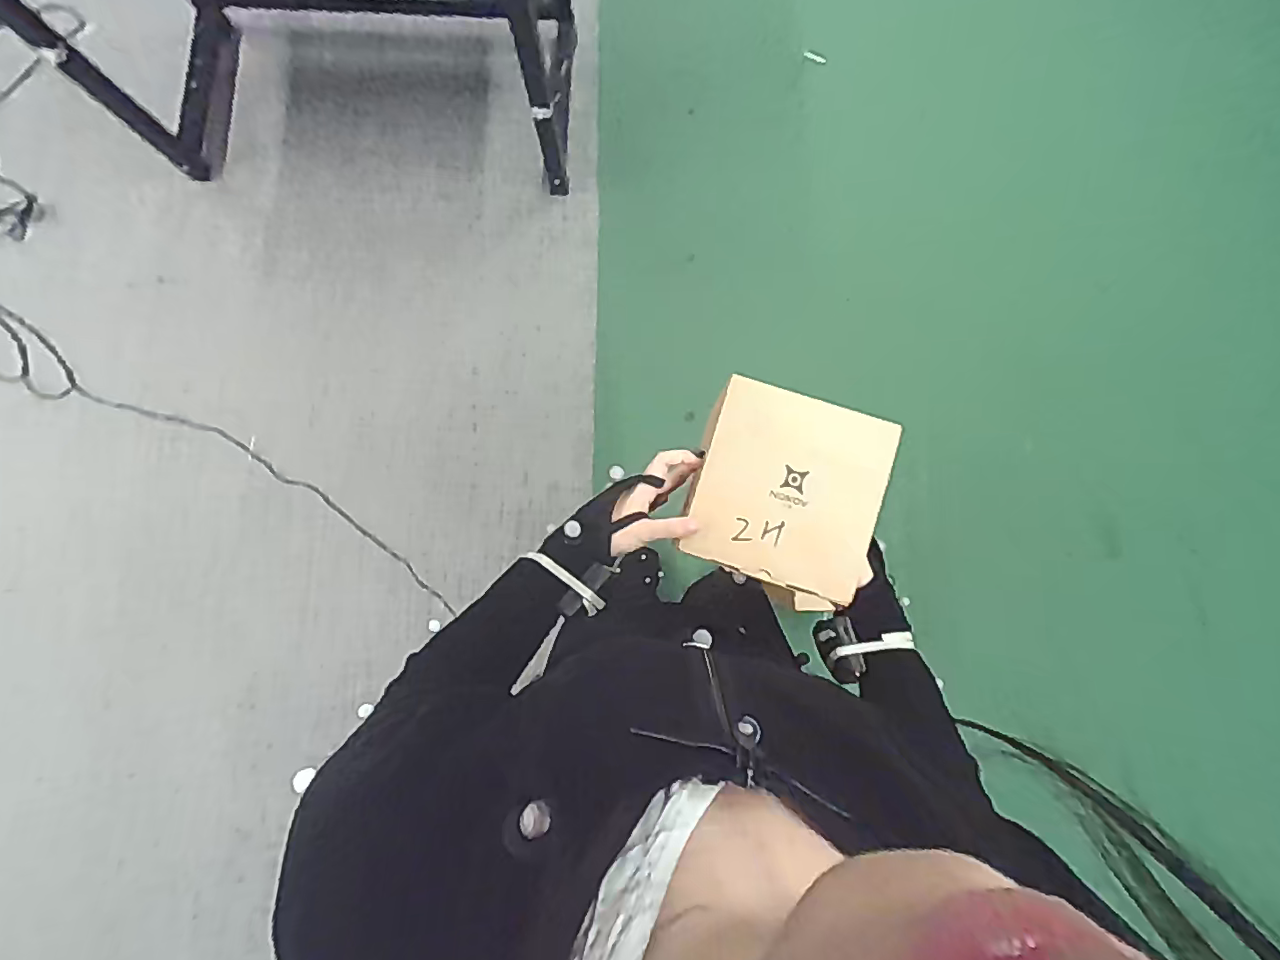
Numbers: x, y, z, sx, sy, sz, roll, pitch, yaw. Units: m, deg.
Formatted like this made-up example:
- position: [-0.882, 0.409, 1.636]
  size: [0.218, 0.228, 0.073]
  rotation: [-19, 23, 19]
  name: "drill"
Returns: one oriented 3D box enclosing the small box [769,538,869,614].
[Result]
- position: [0.411, 0.220, 1.262]
  size: [0.179, 0.176, 0.168]
  rotation: [0, 82, -2]
  name: "small box"
